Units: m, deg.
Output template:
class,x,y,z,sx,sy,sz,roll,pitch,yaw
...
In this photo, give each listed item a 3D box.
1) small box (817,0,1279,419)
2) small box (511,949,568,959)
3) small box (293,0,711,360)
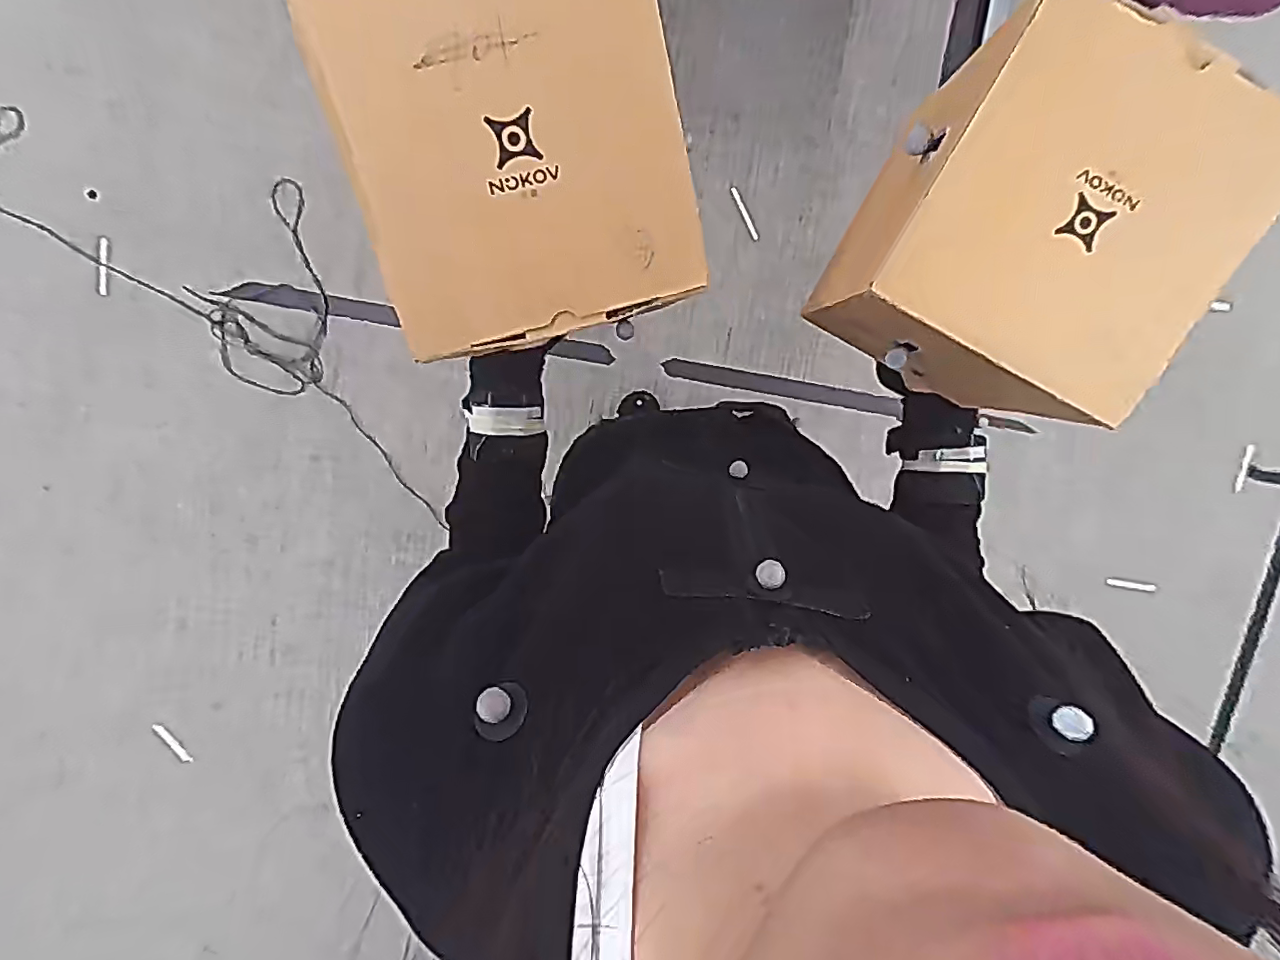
class,x,y,z,sx,sy,sz,roll,pitch,yaw
small box,0.241,-0.160,0.364,0.168,0.176,0.179,28,101,-3
small box,-0.213,1.127,1.115,0.168,0.176,0.179,14,98,-4
small box,-0.067,-0.184,0.343,0.168,0.176,0.179,-16,105,-3
